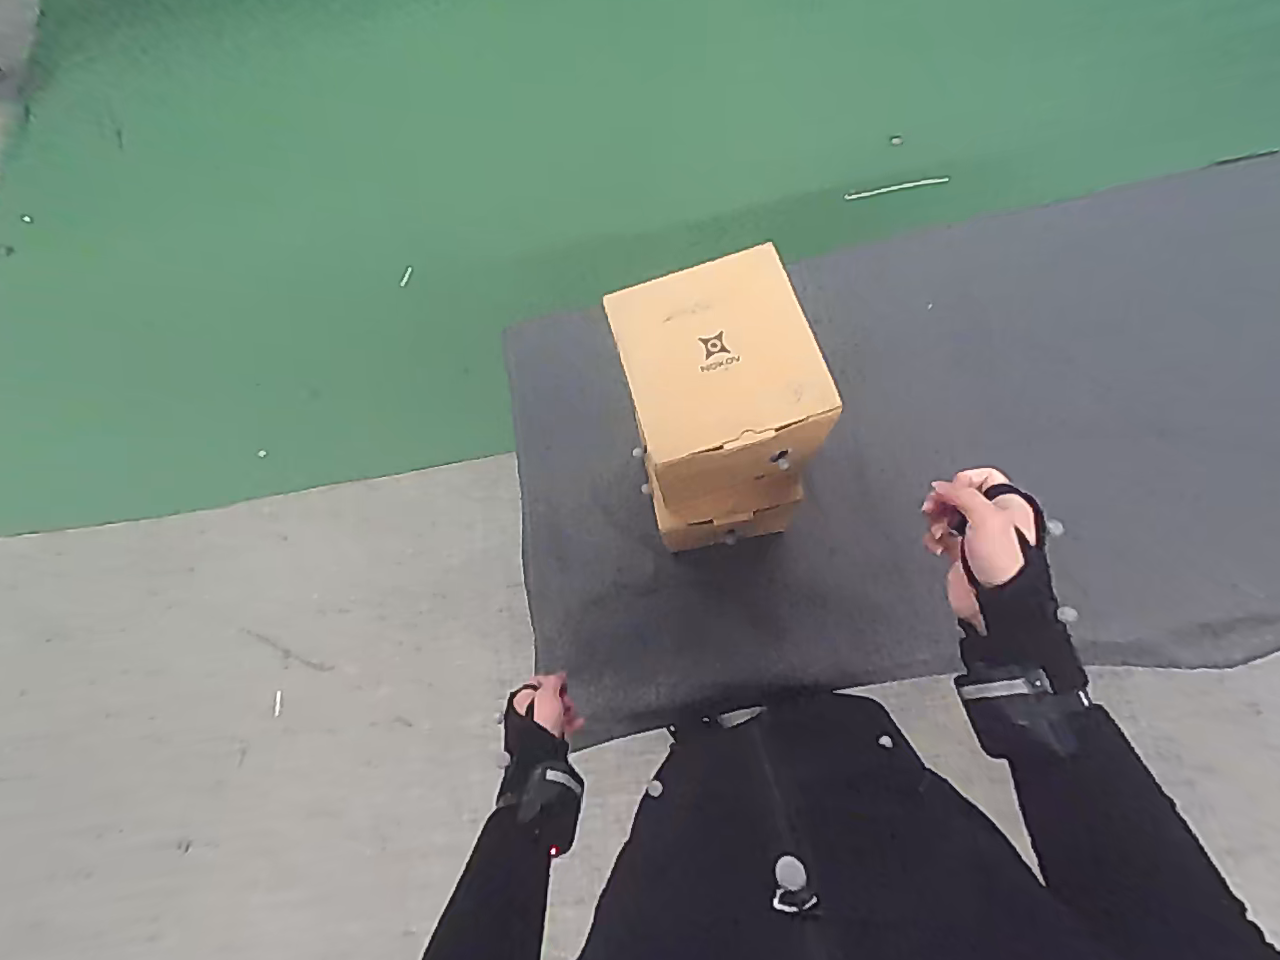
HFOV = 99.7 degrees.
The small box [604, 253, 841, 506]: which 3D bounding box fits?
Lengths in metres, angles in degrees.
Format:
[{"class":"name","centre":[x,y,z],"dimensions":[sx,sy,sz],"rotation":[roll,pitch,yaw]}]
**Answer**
[{"class":"small box","centre":[0.076,-0.084,0.546],"dimensions":[0.168,0.176,0.179],"rotation":[-18,72,1]}]

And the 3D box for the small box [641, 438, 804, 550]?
[{"class":"small box","centre":[0.097,-0.012,0.693],"dimensions":[0.168,0.176,0.179],"rotation":[-12,74,3]}]
